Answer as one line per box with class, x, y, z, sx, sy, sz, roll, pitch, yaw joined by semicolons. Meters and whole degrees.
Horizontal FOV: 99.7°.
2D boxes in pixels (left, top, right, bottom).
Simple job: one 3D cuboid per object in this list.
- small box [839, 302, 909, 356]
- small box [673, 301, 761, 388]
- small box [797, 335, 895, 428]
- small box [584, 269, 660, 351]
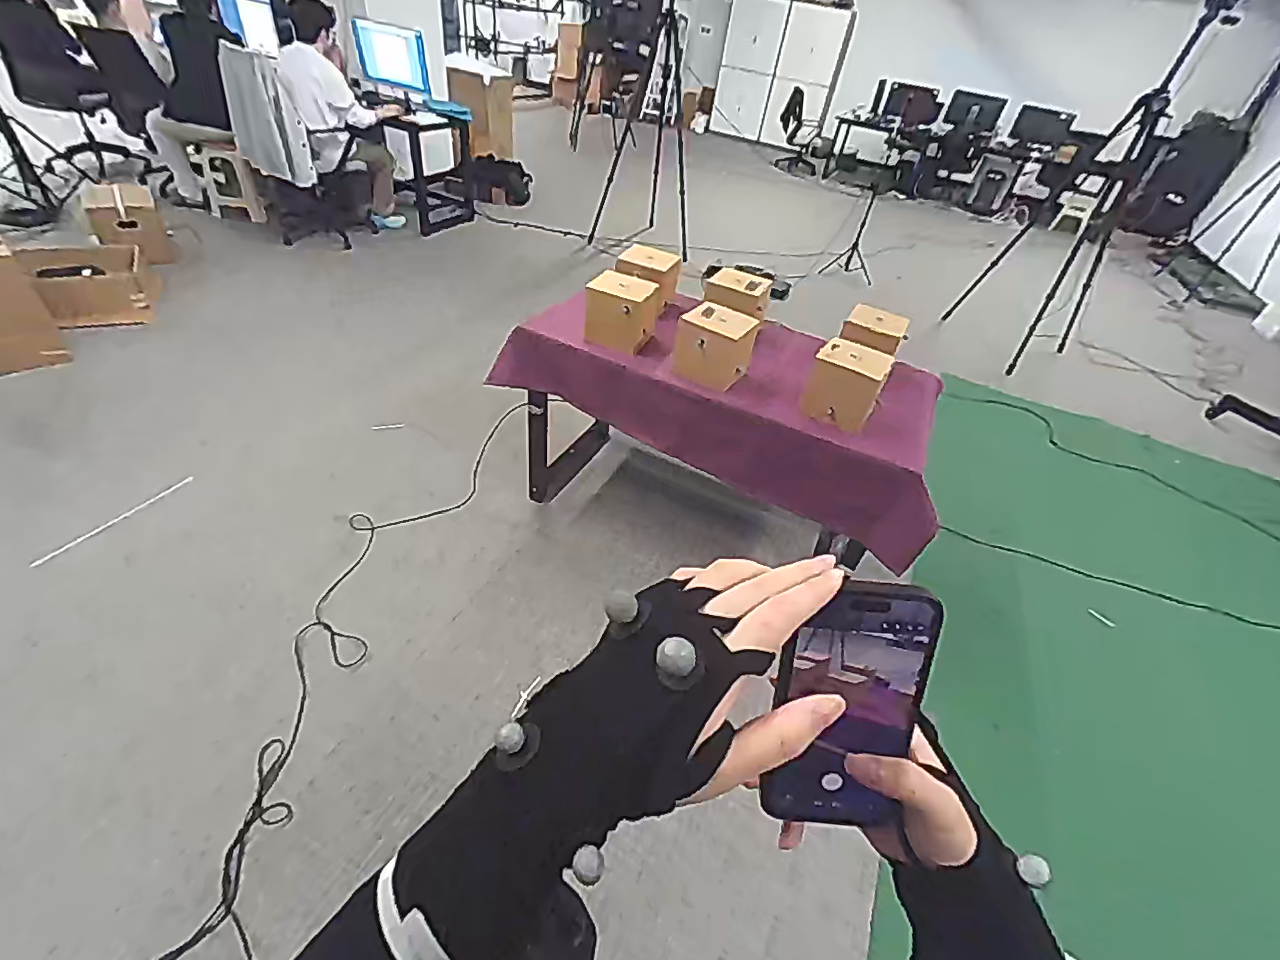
small box;0.710;-0.428;1.687;0.168;0.176;0.179;25;44;18
small box;0.214;-0.385;1.542;0.179;0.176;0.168;28;44;19
small box;0.556;-0.263;1.469;0.179;0.176;0.168;29;44;20
small box;-0.058;-0.512;1.635;0.179;0.176;0.168;20;41;10
